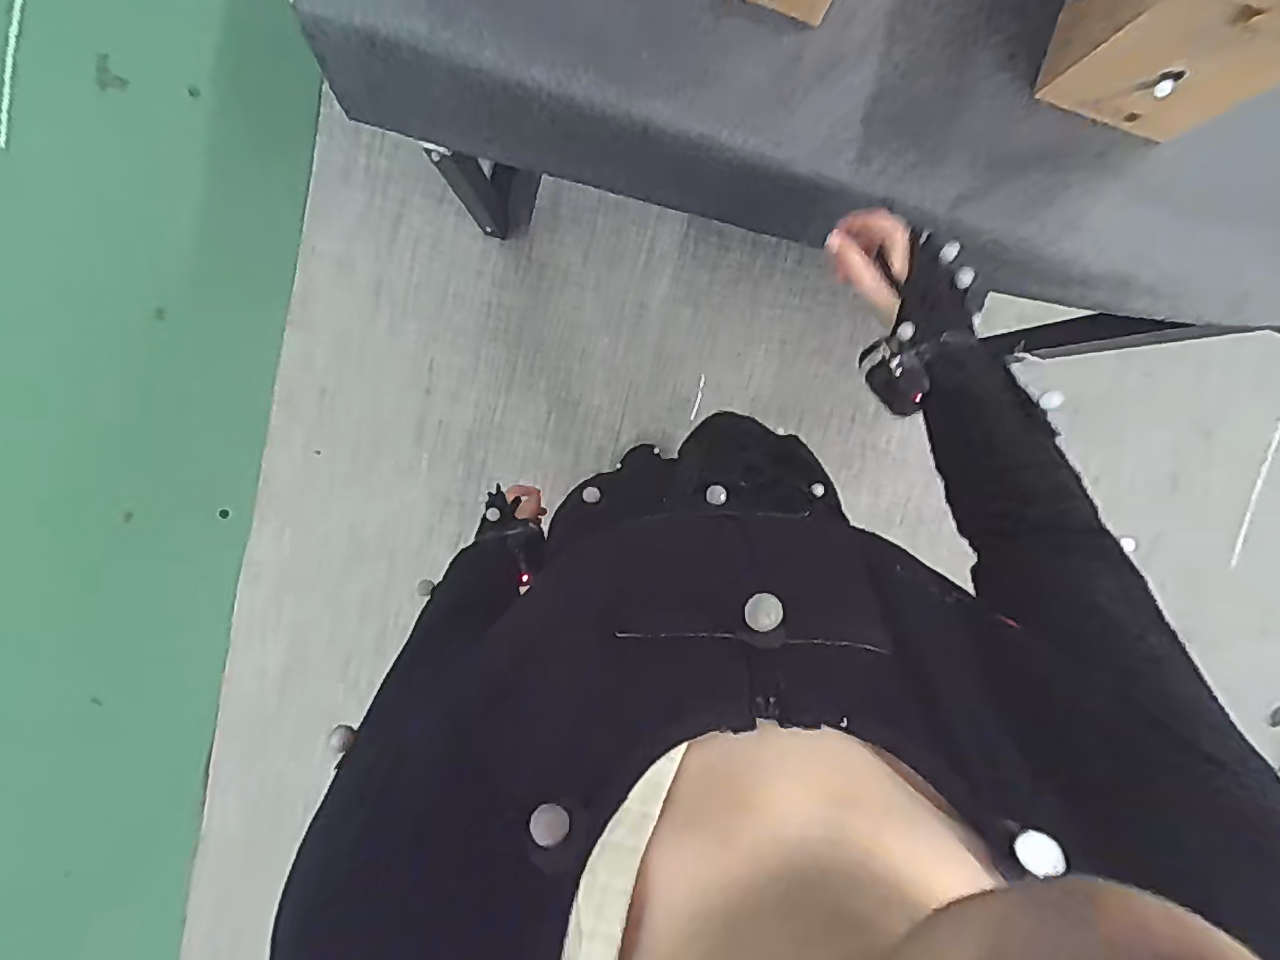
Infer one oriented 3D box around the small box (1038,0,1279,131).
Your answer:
[{"bbox_3d":[0.528,-0.474,0.509,0.168,0.176,0.179,15,96,-5],"label":"small box"}]
